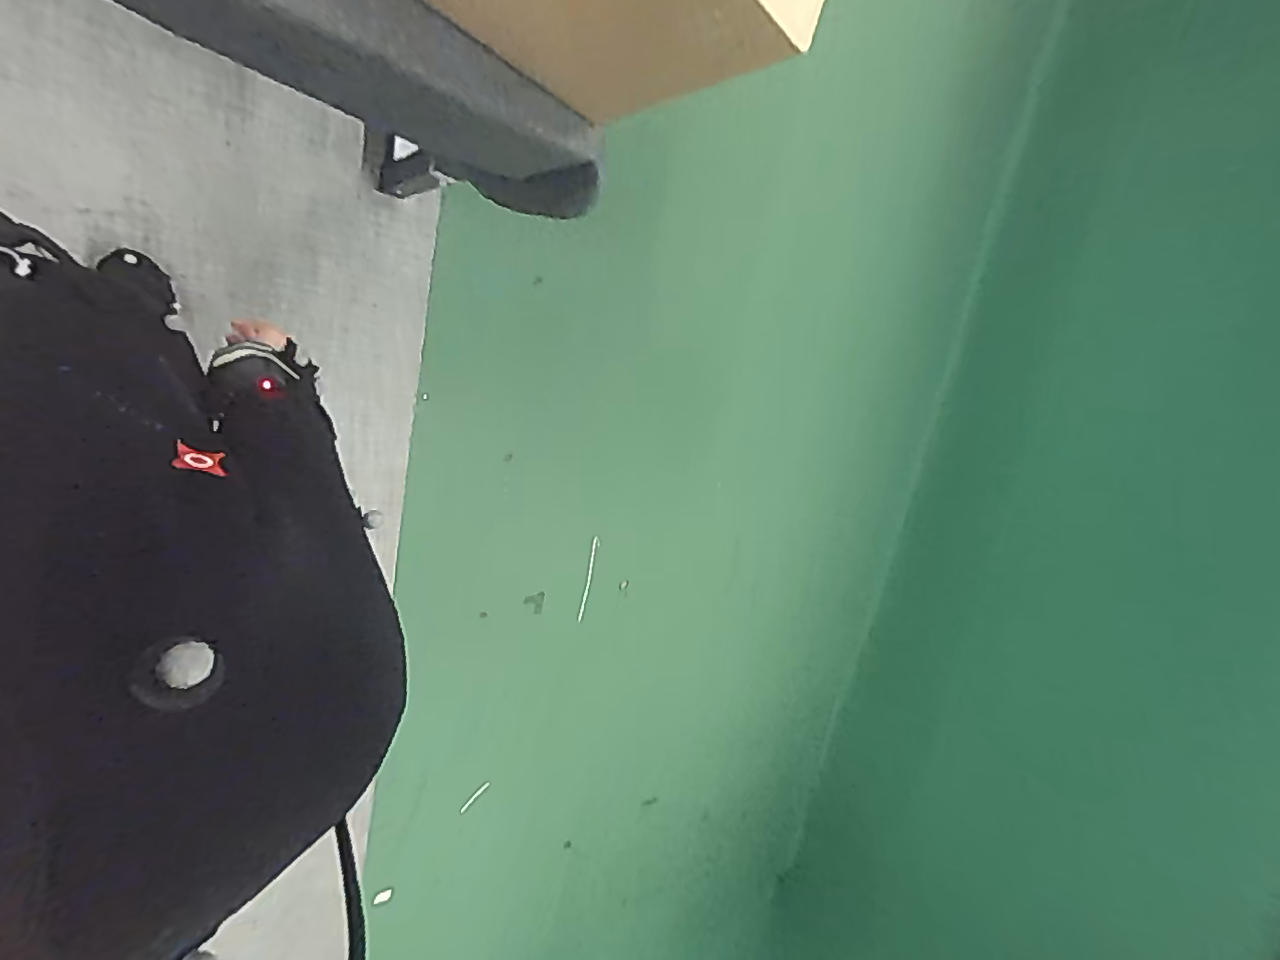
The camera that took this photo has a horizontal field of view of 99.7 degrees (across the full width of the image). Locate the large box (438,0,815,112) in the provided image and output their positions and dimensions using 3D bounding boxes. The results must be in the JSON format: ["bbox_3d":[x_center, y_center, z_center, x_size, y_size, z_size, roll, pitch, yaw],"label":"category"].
[{"bbox_3d":[-0.061,-0.582,0.422,0.408,0.320,0.320,7,102,-45],"label":"large box"}]
